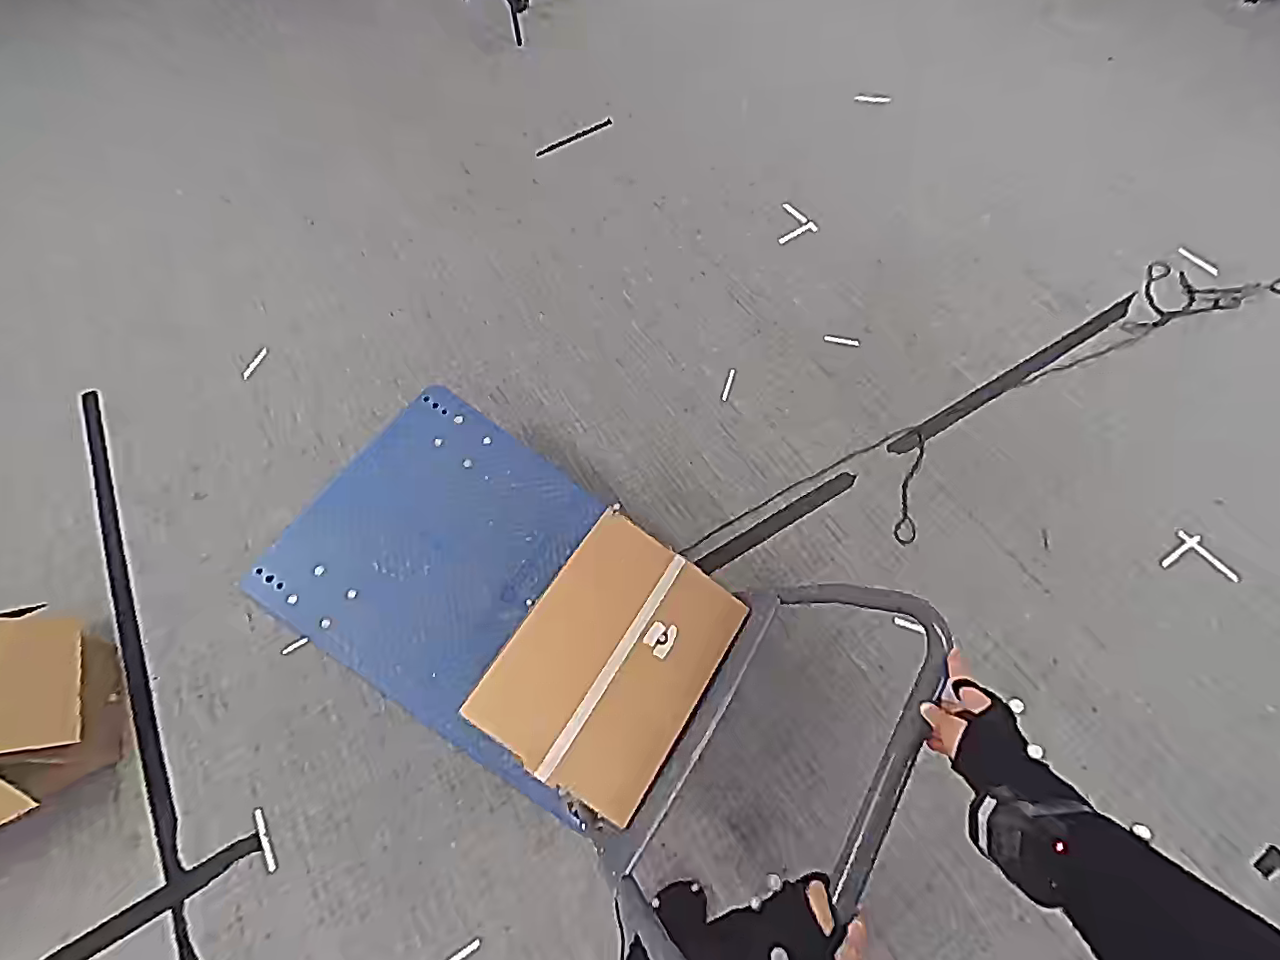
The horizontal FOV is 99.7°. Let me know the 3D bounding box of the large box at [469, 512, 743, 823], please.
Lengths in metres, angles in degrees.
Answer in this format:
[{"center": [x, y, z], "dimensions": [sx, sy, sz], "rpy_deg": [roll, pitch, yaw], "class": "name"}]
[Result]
[{"center": [-0.073, 0.337, 1.036], "dimensions": [0.320, 0.320, 0.408], "rpy_deg": [36, 69, -3], "class": "large box"}]
